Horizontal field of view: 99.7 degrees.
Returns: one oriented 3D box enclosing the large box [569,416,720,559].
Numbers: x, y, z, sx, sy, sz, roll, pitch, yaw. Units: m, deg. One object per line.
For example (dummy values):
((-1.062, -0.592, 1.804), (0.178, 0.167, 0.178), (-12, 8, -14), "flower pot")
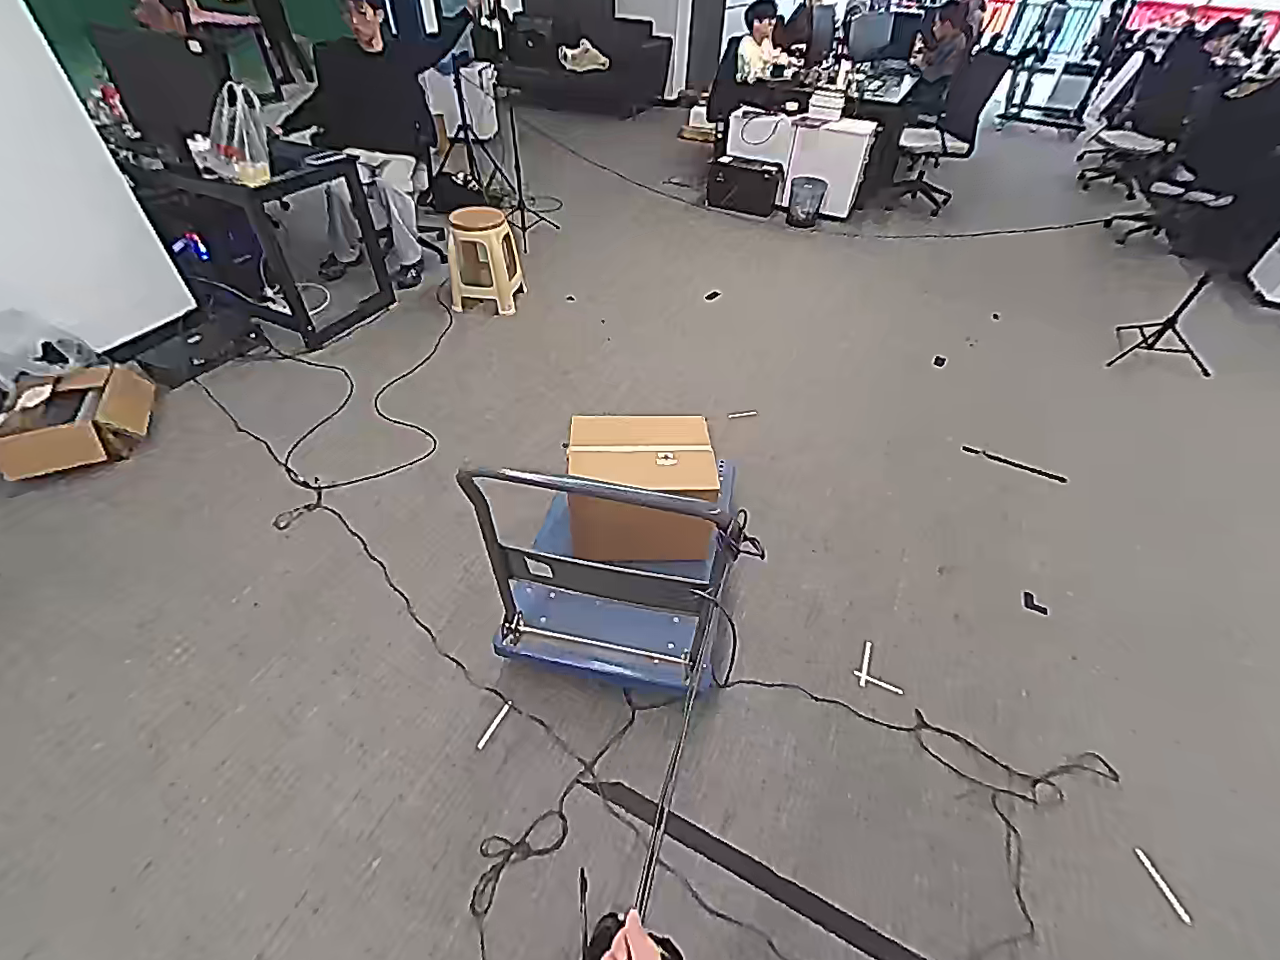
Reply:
((-0.003, 0.023, 1.613), (0.408, 0.320, 0.320), (0, 46, -4), "large box")
